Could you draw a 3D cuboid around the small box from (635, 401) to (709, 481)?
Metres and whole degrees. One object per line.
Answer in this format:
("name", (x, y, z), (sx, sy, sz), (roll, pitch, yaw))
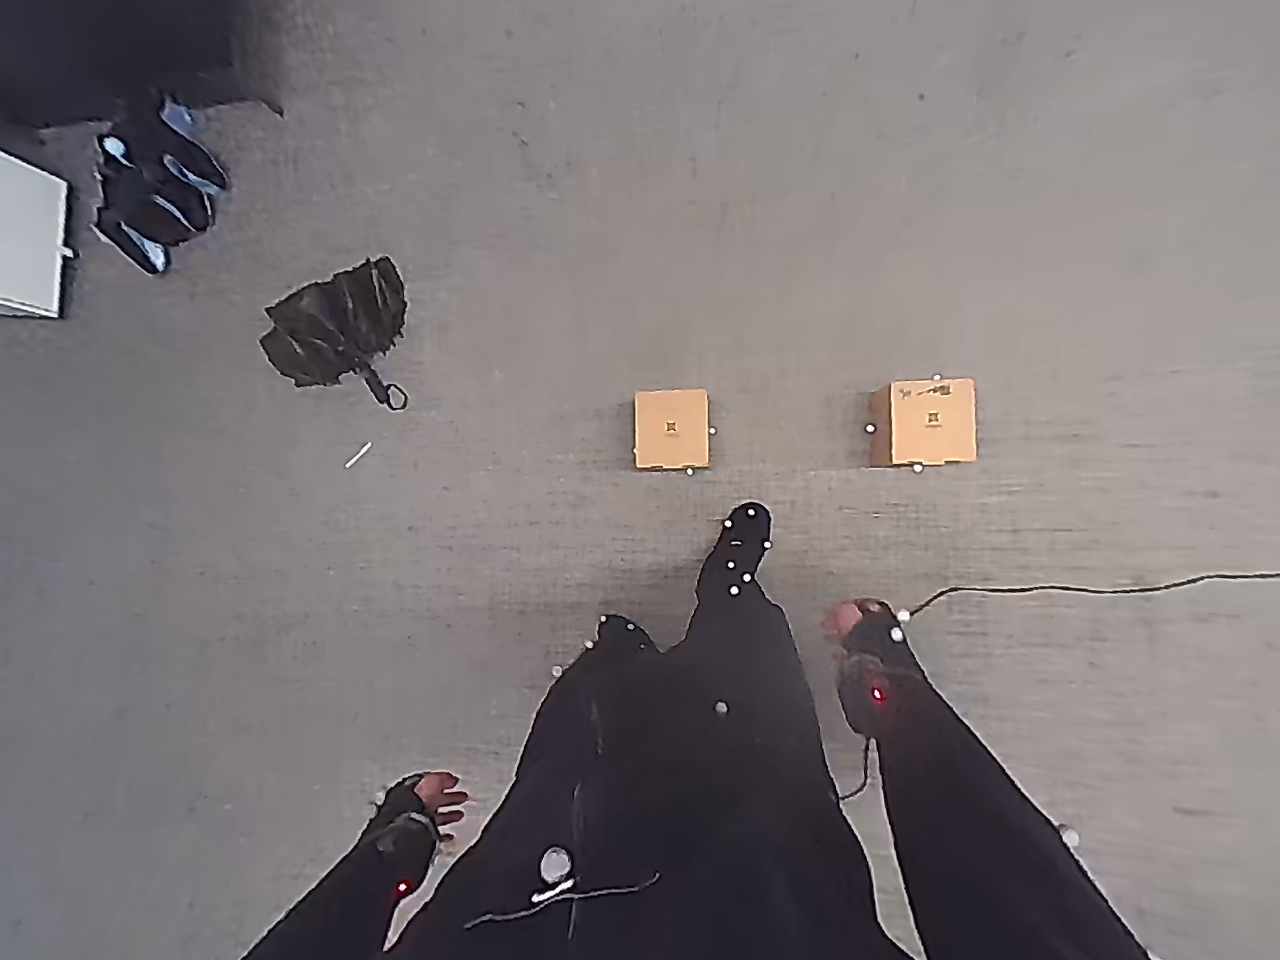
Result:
("small box", (0.082, -0.087, 1.307), (0.168, 0.176, 0.179), (-3, 87, 7))

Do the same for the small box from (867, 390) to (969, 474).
("small box", (0.623, -0.102, 1.226), (0.168, 0.176, 0.179), (-1, 89, 9))
